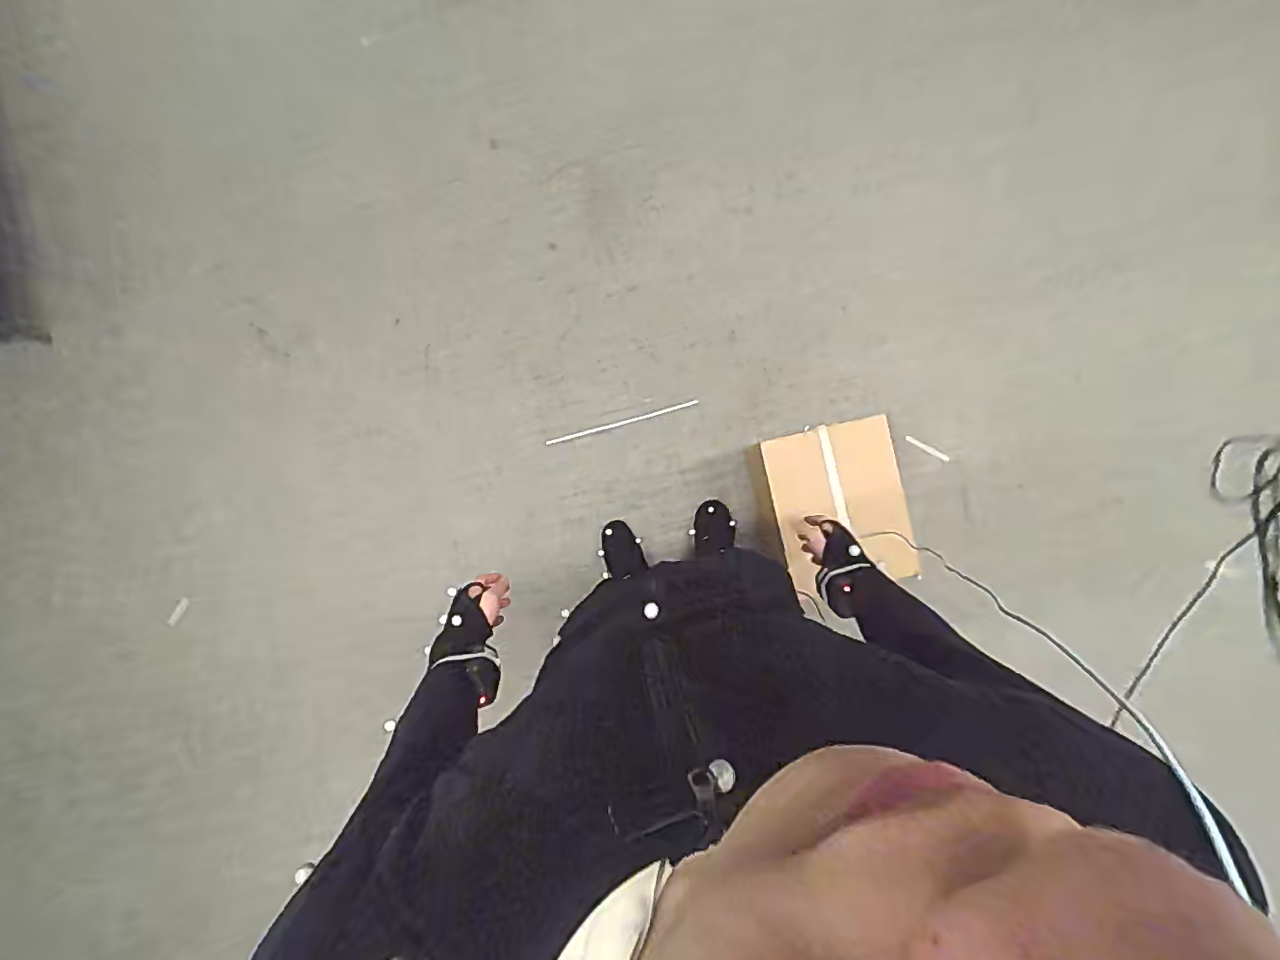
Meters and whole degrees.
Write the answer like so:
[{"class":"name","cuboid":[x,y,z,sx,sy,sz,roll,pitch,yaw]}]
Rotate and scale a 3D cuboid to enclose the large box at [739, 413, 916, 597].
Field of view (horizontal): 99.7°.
[{"class":"large box","cuboid":[0.485,0.061,1.475,0.320,0.320,0.408,-13,90,3]}]
